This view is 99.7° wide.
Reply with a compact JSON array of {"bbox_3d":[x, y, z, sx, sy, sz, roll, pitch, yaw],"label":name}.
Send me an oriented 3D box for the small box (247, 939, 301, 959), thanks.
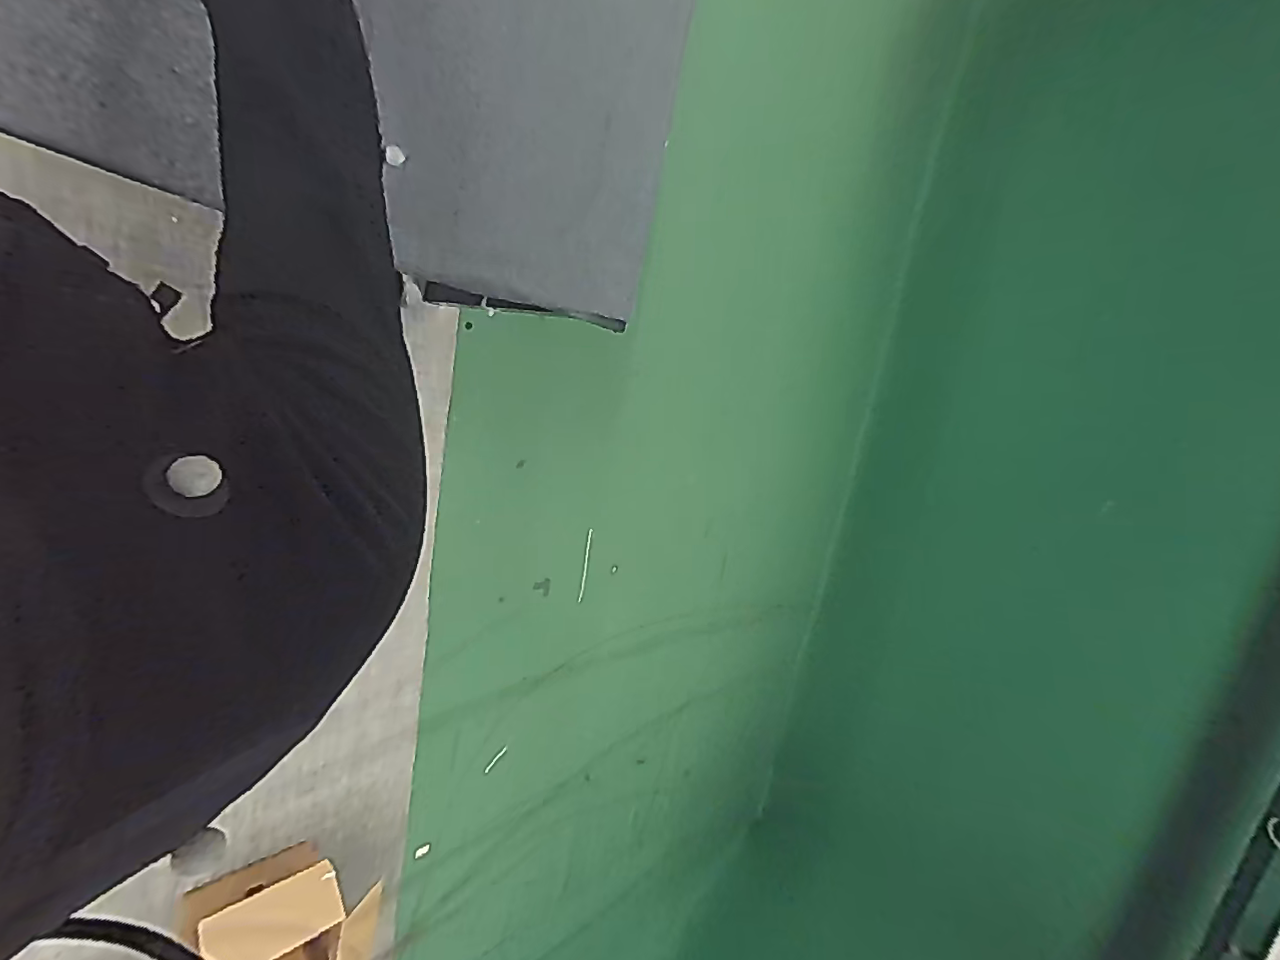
[{"bbox_3d":[-0.967,1.337,1.369,0.179,0.176,0.168,4,102,-48],"label":"small box"}]
